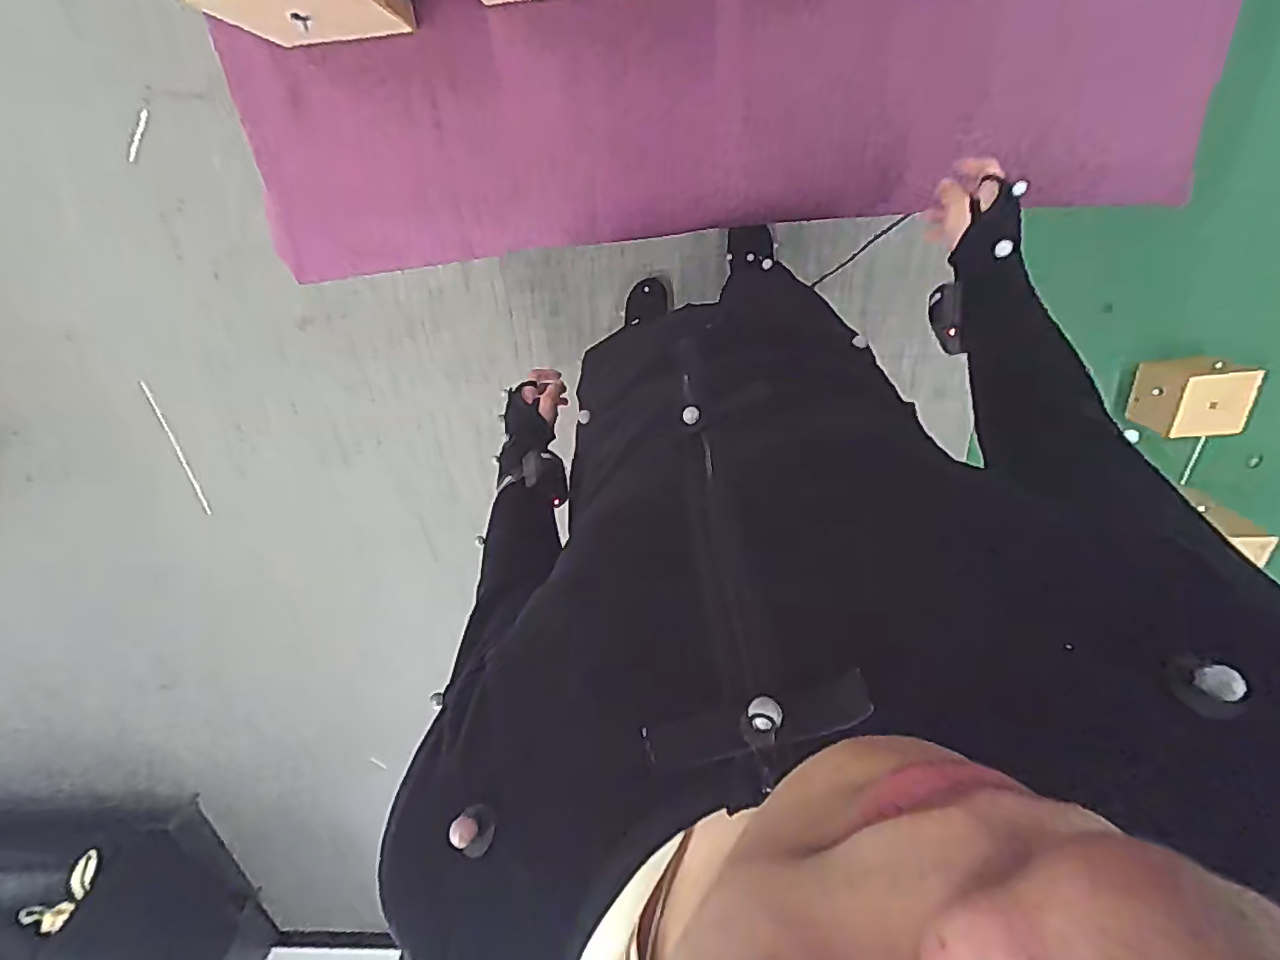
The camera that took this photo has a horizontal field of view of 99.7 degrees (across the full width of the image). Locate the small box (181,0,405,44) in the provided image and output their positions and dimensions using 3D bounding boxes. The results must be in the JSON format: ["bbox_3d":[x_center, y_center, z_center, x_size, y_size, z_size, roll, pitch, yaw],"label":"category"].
[{"bbox_3d":[-0.367,-0.580,0.558,0.179,0.176,0.168,-3,116,5],"label":"small box"}]

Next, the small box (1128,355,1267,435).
[{"bbox_3d":[1.468,-0.230,1.439,0.179,0.176,0.168,-5,116,5],"label":"small box"}]

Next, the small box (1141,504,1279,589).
[{"bbox_3d":[1.517,0.173,1.450,0.179,0.176,0.168,0,117,5],"label":"small box"}]
